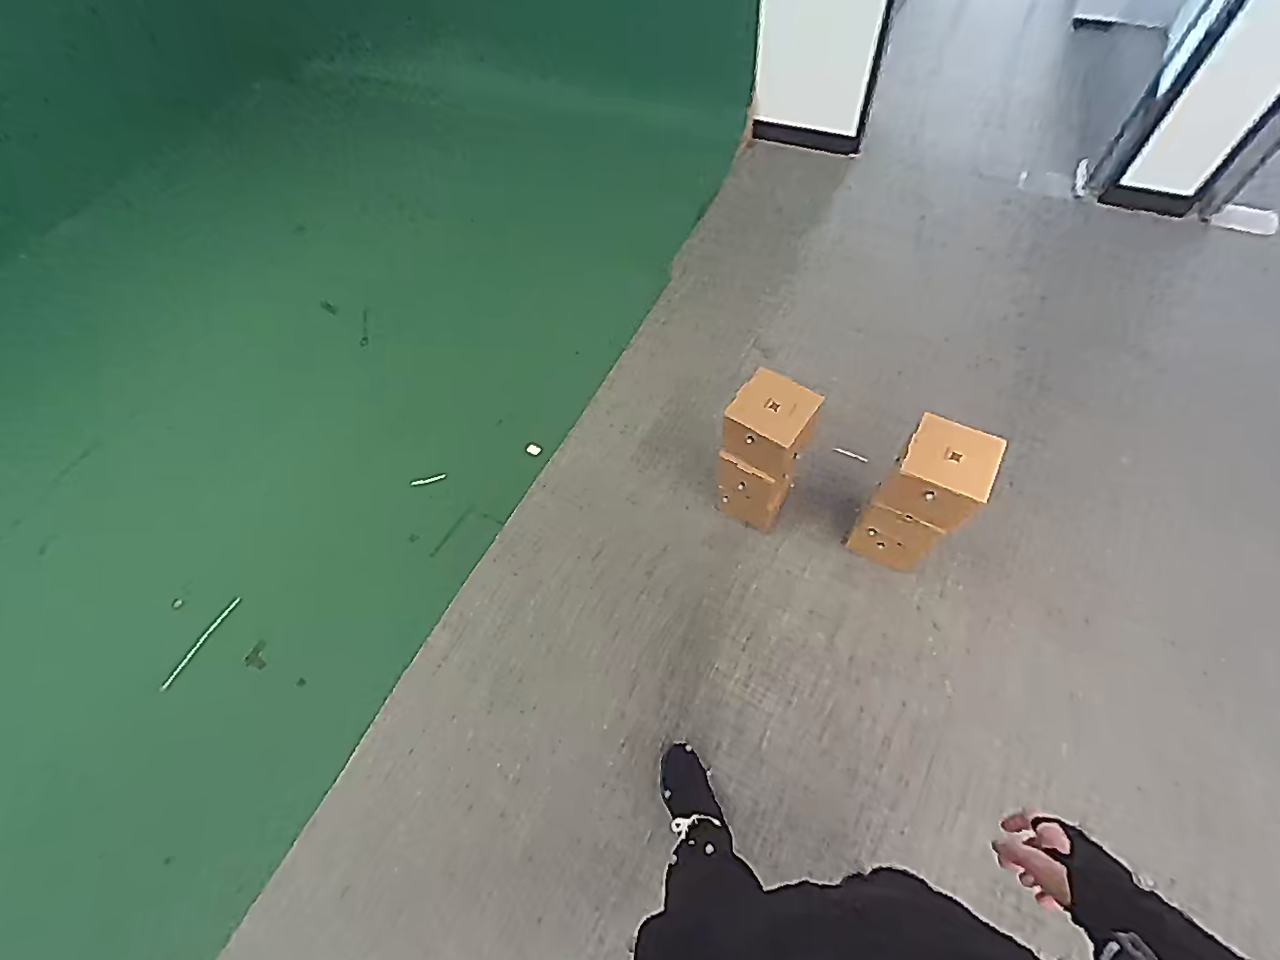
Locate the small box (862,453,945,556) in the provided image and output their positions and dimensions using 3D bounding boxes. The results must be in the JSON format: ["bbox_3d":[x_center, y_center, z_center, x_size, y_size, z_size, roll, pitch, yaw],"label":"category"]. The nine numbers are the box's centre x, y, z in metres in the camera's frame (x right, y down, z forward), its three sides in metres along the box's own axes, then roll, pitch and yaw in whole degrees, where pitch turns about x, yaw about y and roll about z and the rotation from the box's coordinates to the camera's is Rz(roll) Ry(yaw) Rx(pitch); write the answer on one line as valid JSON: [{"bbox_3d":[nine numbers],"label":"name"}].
[{"bbox_3d":[0.682,0.068,1.367,0.168,0.176,0.179,25,68,19],"label":"small box"}]

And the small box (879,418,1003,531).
[{"bbox_3d":[0.671,-0.005,1.222,0.179,0.176,0.168,24,68,19],"label":"small box"}]

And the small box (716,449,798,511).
[{"bbox_3d":[0.325,-0.042,1.474,0.168,0.176,0.179,30,71,22],"label":"small box"}]

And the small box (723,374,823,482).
[{"bbox_3d":[0.319,-0.123,1.332,0.179,0.176,0.168,33,71,22],"label":"small box"}]

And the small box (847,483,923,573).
[{"bbox_3d":[0.701,0.140,1.513,0.179,0.176,0.168,24,69,19],"label":"small box"}]
